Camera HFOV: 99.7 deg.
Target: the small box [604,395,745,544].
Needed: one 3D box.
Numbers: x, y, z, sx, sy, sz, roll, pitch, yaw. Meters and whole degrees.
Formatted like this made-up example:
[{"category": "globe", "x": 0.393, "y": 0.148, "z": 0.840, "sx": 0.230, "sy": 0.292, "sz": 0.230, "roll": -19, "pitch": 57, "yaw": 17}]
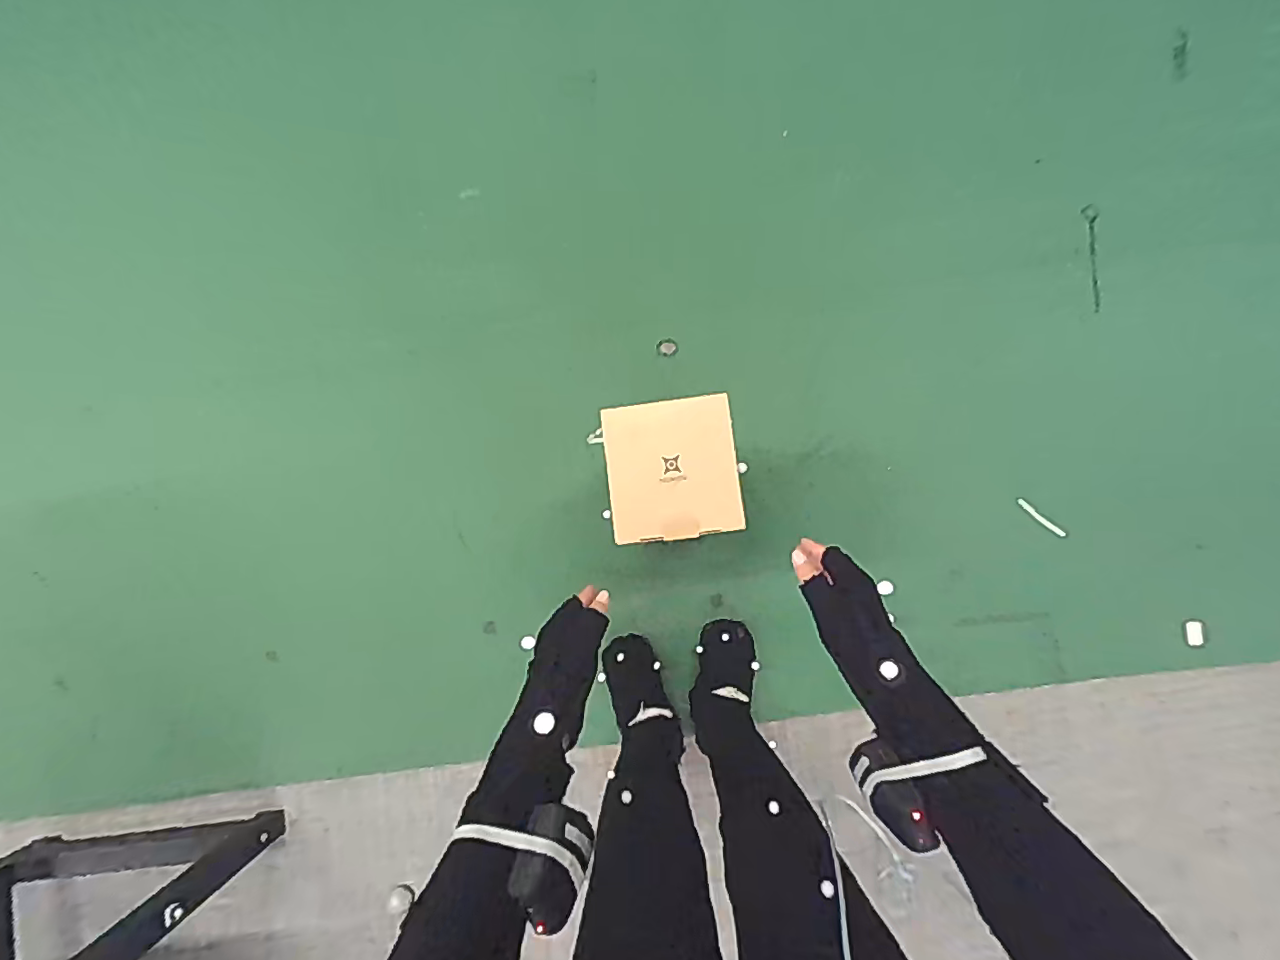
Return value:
[{"category": "small box", "x": 0.045, "y": -0.008, "z": 0.766, "sx": 0.168, "sy": 0.176, "sz": 0.179, "roll": -8, "pitch": 86, "yaw": 2}]
